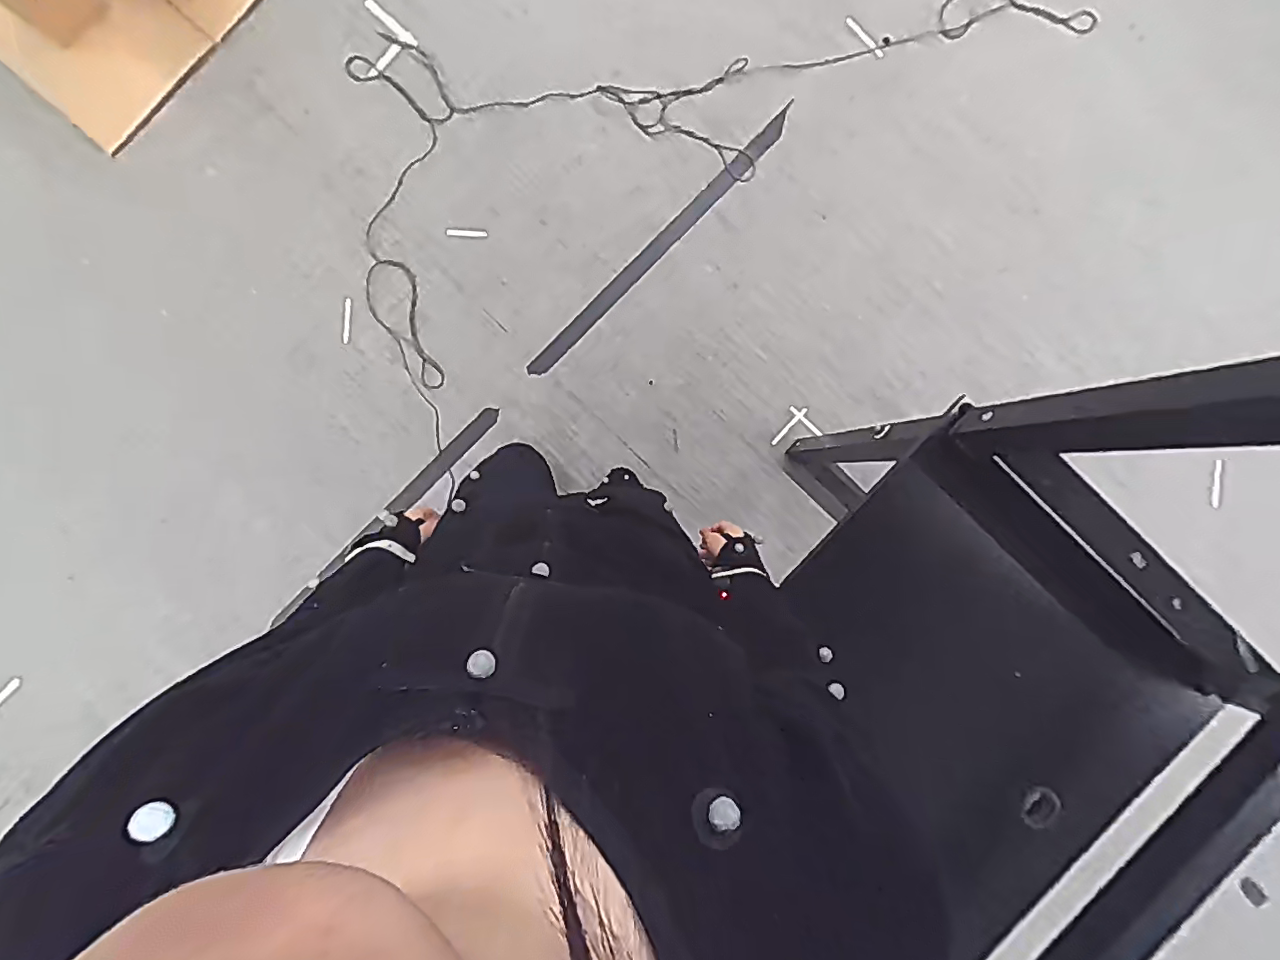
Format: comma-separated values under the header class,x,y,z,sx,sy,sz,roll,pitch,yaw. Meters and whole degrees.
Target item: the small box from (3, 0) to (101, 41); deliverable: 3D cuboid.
class,x,y,z,sx,sy,sz,roll,pitch,yaw
small box,-1.468,-1.227,1.296,0.179,0.176,0.168,-44,93,0
